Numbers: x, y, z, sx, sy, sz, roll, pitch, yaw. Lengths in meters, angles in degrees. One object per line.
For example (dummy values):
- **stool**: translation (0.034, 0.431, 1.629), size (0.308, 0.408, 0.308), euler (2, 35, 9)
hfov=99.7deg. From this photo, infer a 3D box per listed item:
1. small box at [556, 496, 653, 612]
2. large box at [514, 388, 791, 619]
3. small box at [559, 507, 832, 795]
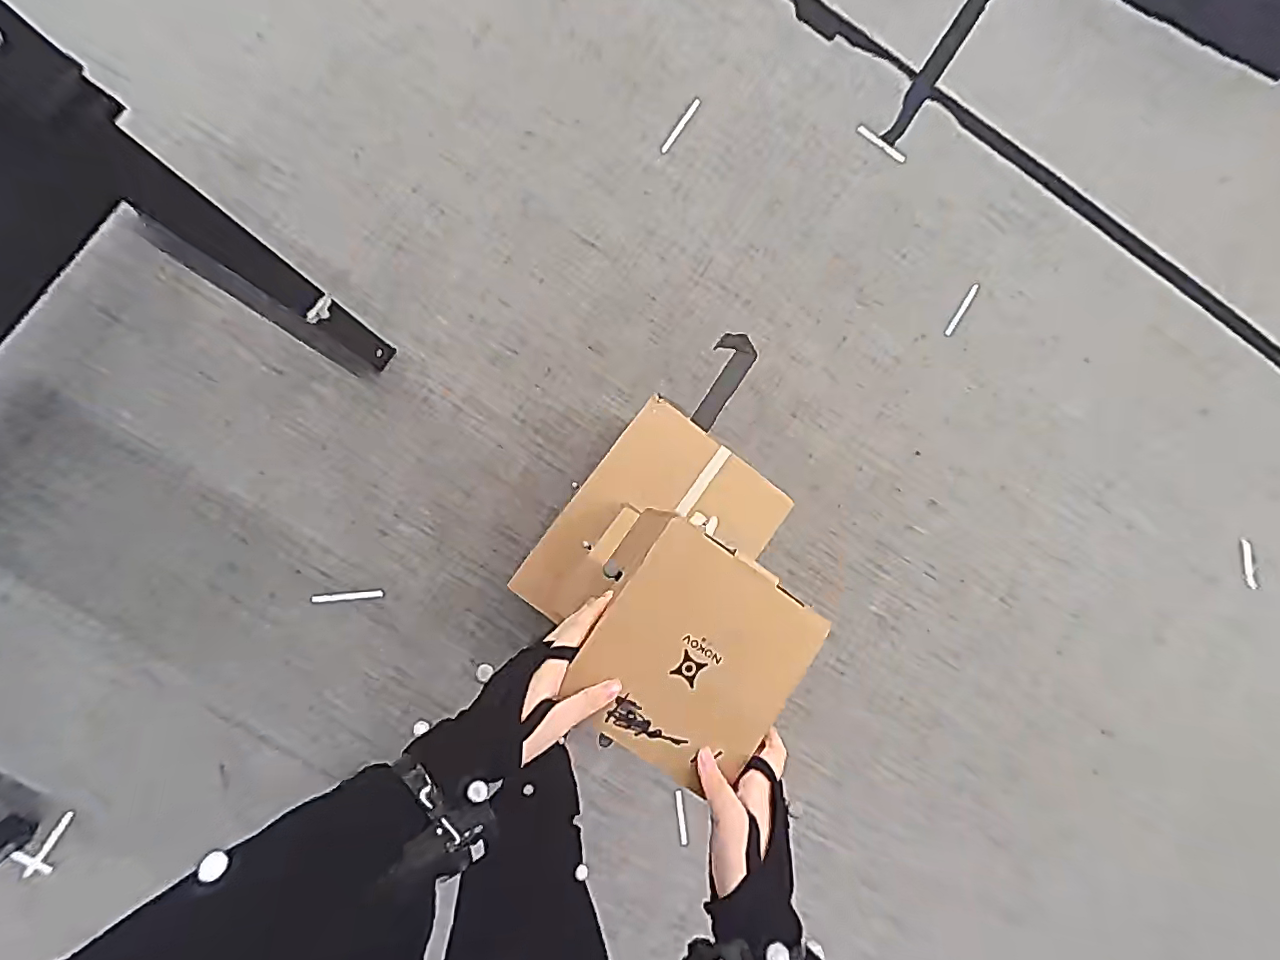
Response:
- **small box**: translation (-0.006, 0.140, 0.797), size (0.168, 0.176, 0.179), euler (38, 85, -3)
- **large box**: translation (0.009, 0.100, 1.047), size (0.320, 0.320, 0.408), euler (38, 83, -6)
- **small box**: translation (0.037, 0.138, 0.512), size (0.168, 0.176, 0.179), euler (37, 84, -5)
